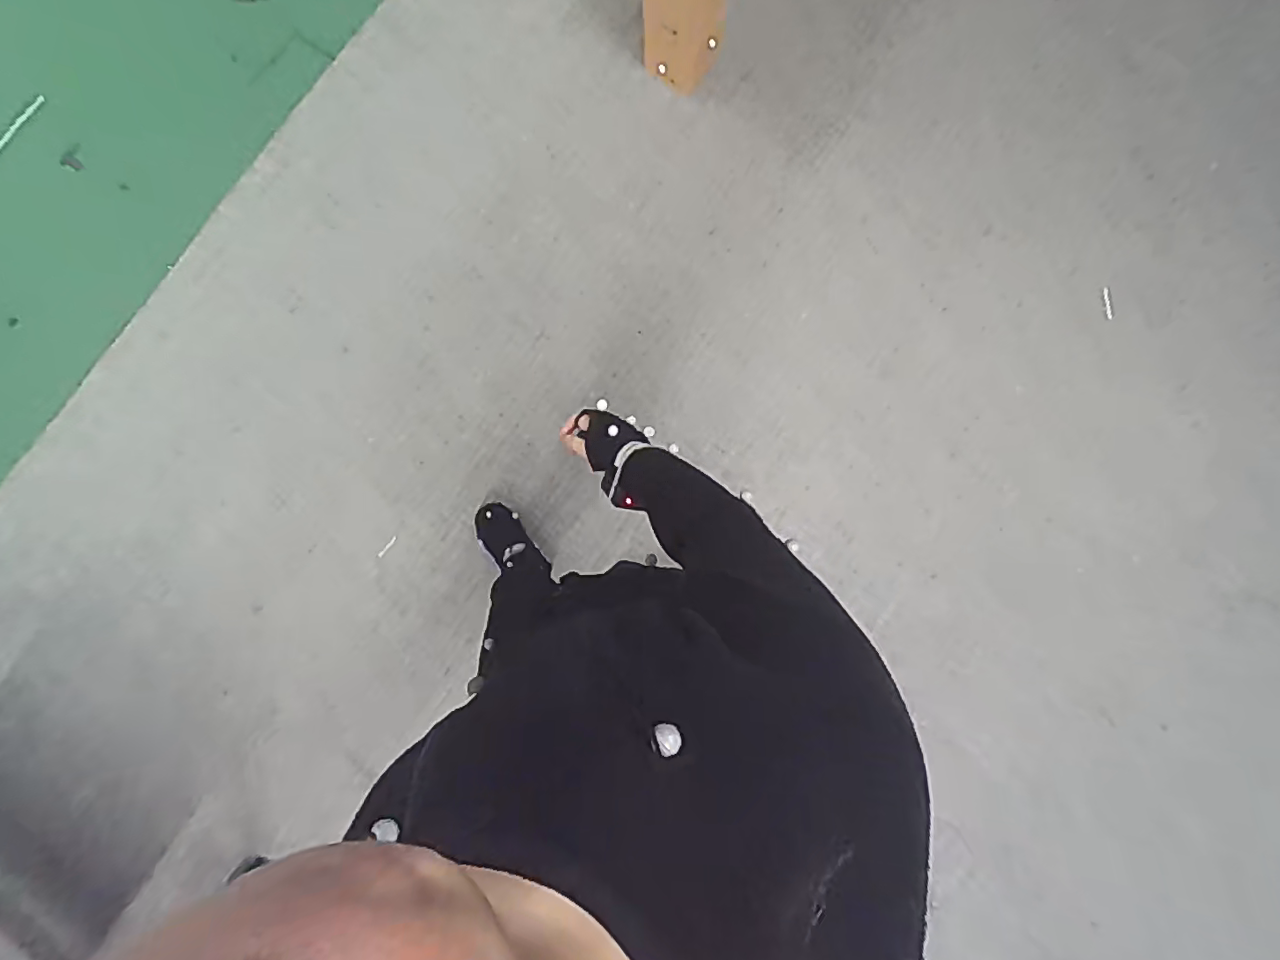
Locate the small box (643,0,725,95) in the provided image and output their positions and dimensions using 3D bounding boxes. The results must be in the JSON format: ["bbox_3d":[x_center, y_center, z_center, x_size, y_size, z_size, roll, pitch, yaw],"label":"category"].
[{"bbox_3d":[0.117,-1.269,1.545,0.168,0.176,0.179,34,86,2],"label":"small box"}]
